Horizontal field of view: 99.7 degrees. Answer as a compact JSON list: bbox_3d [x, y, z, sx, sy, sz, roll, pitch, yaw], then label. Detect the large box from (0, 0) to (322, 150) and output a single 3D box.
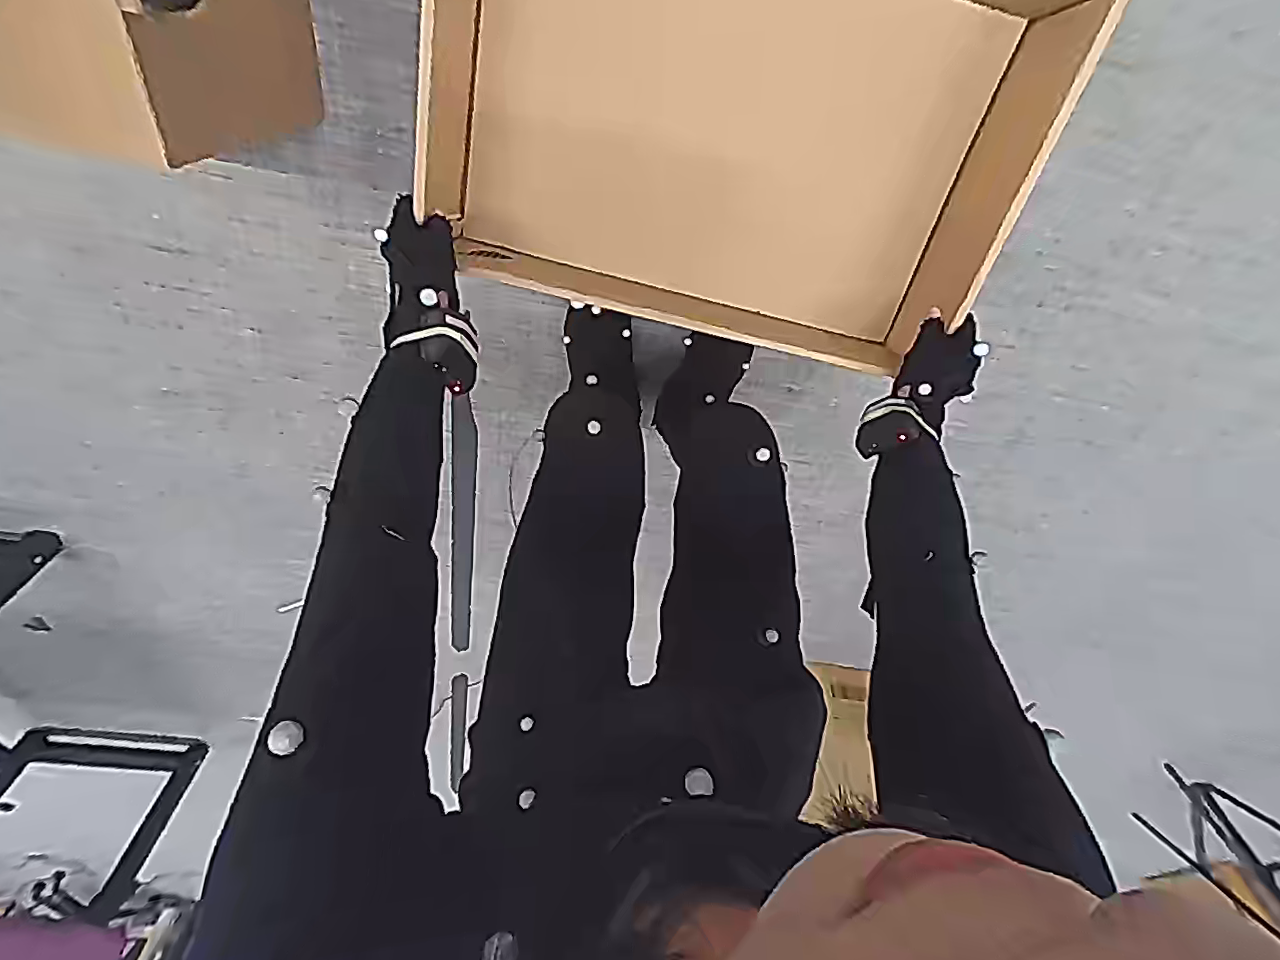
[{"bbox_3d":[-0.573,-0.523,0.466,0.408,0.320,0.320,8,132,-7],"label":"large box"}]
